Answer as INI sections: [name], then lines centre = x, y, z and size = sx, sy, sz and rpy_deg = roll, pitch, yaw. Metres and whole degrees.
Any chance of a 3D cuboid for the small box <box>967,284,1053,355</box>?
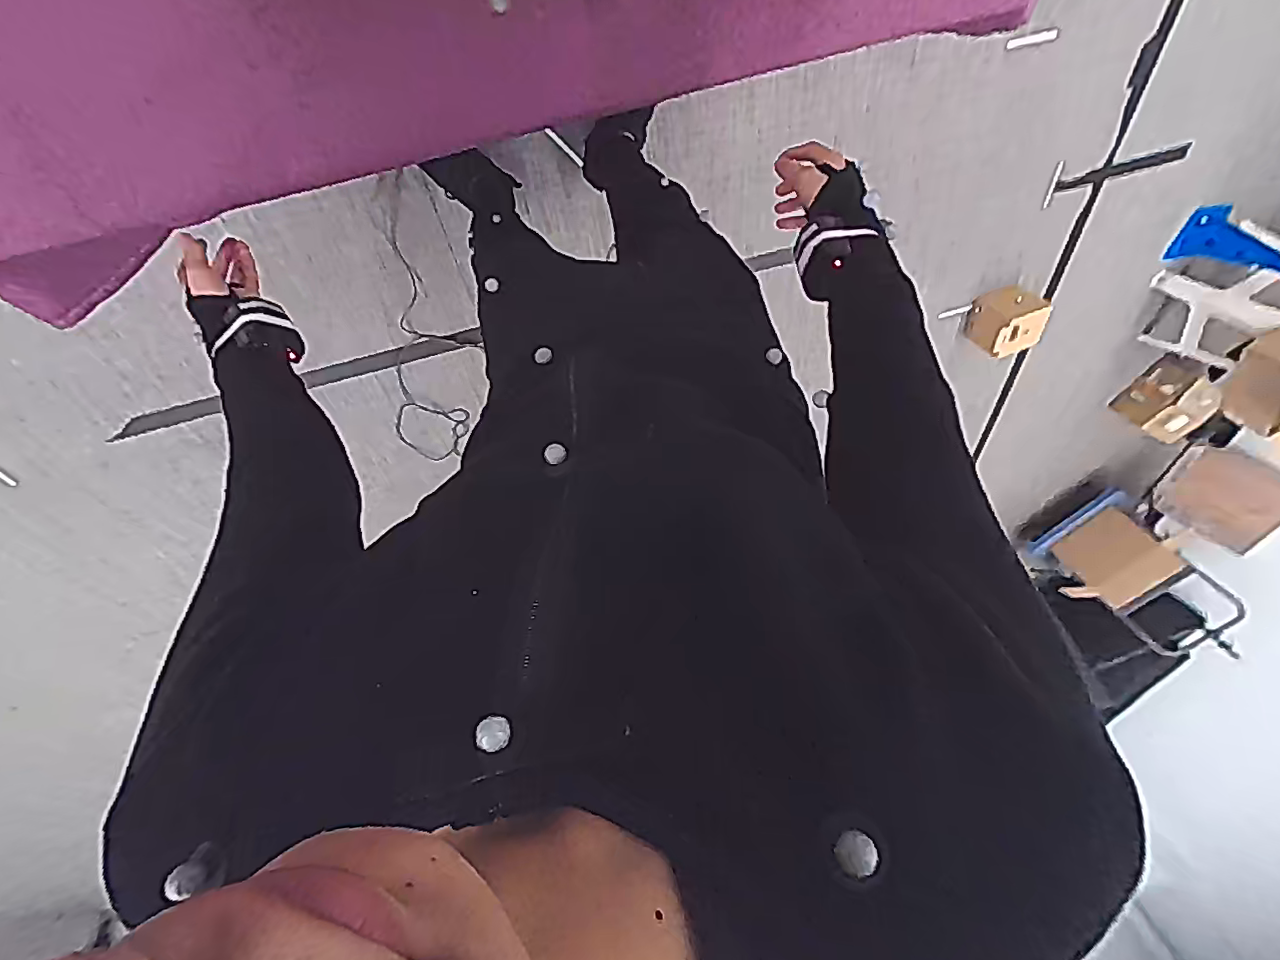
[small box]
centre = 1.343, -0.592, 1.979
size = 0.179, 0.176, 0.168
rpy_deg = -20, 137, -6
